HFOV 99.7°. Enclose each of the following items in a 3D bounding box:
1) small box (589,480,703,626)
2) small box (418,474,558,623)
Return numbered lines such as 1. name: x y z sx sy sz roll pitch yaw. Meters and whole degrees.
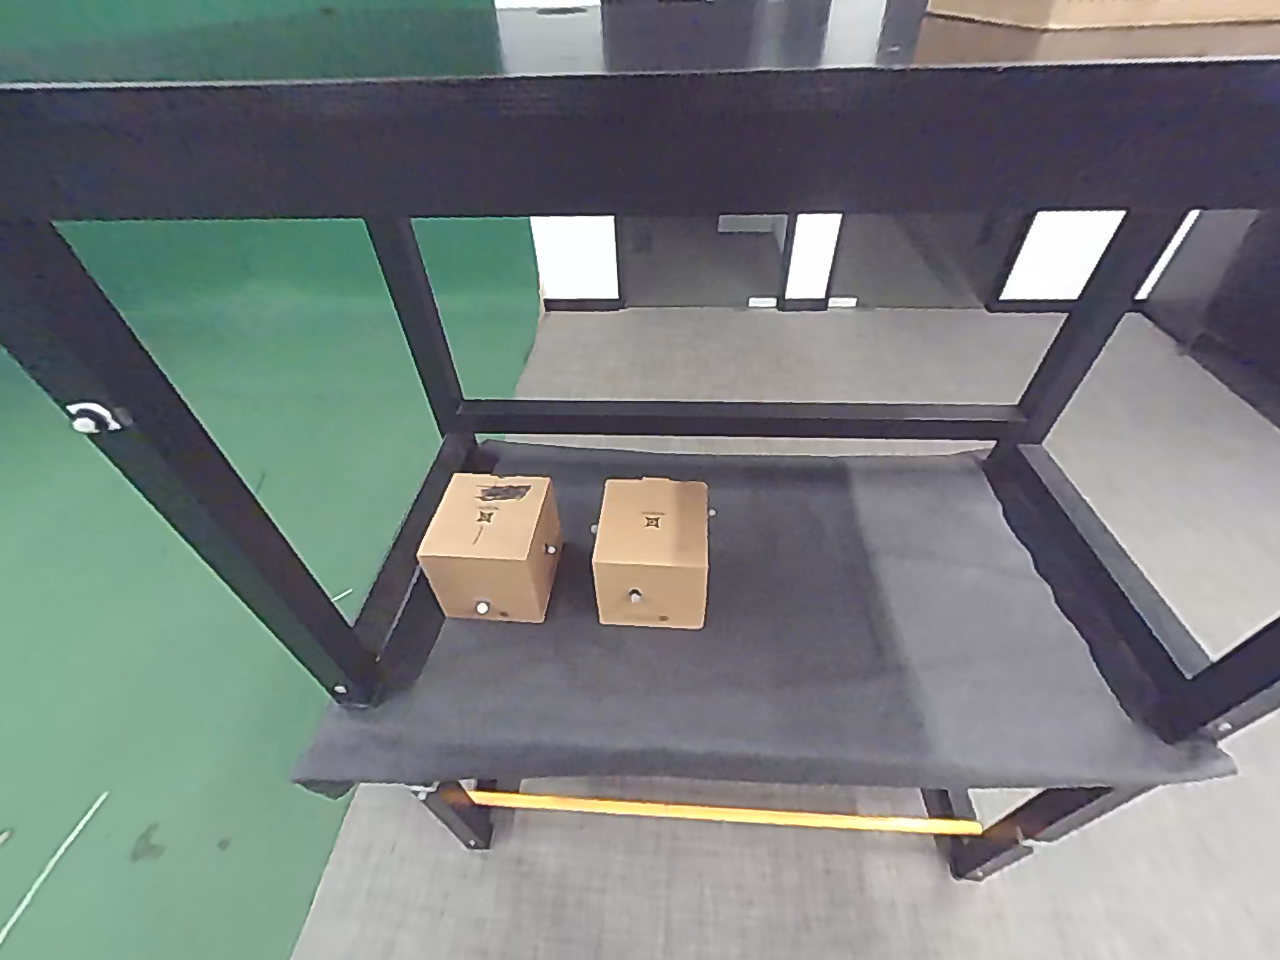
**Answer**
1. small box: 0.017 0.120 0.878 0.168 0.176 0.179 2 43 4
2. small box: -0.235 0.111 0.891 0.168 0.176 0.179 2 44 4
